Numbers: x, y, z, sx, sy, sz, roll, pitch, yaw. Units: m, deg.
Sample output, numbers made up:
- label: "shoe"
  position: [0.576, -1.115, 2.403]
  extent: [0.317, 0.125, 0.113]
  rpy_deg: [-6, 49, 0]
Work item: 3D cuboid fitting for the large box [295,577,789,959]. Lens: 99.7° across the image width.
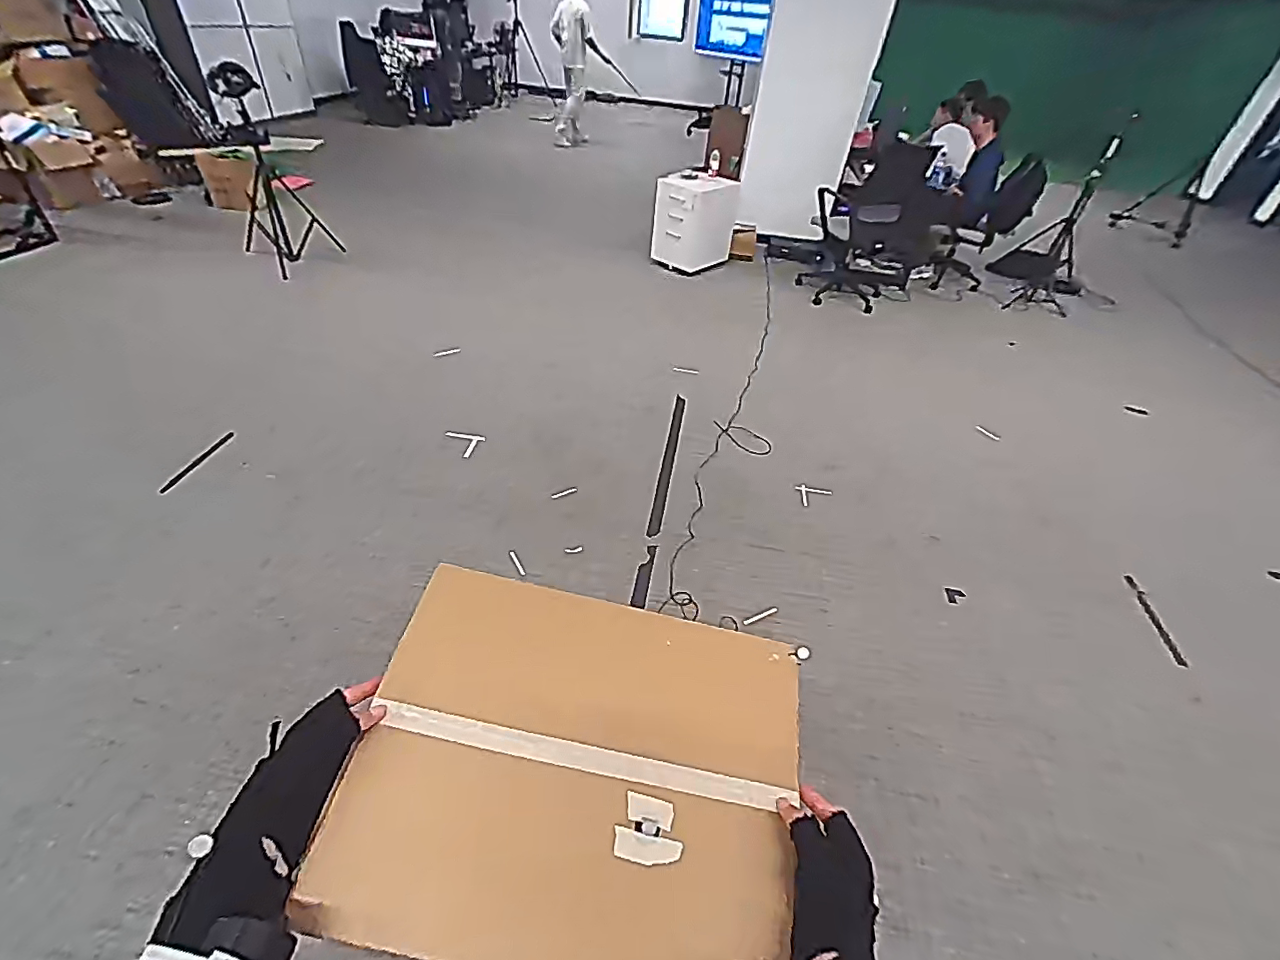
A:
- label: "large box"
  position: [-0.076, 0.356, 0.628]
  extent: [0.408, 0.320, 0.320]
  rpy_deg: [14, 52, -1]
